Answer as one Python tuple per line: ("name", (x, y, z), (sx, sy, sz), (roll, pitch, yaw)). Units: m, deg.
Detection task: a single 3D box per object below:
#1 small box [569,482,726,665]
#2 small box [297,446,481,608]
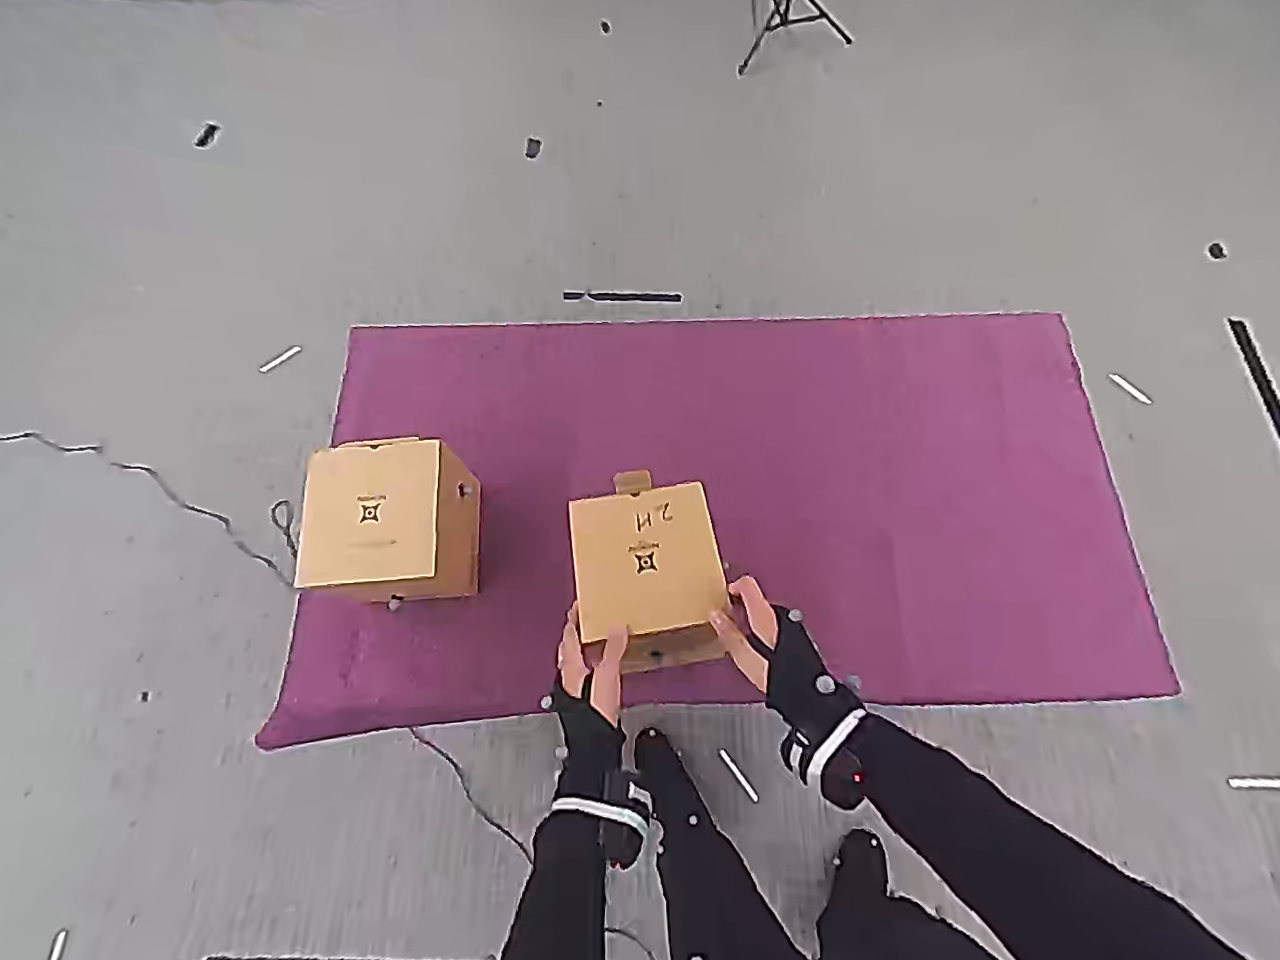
("small box", (0.008, 0.127, 0.689), (0.168, 0.176, 0.179), (-8, 58, -2))
("small box", (-0.322, 0.070, 0.731), (0.168, 0.176, 0.179), (-4, 70, 0))
